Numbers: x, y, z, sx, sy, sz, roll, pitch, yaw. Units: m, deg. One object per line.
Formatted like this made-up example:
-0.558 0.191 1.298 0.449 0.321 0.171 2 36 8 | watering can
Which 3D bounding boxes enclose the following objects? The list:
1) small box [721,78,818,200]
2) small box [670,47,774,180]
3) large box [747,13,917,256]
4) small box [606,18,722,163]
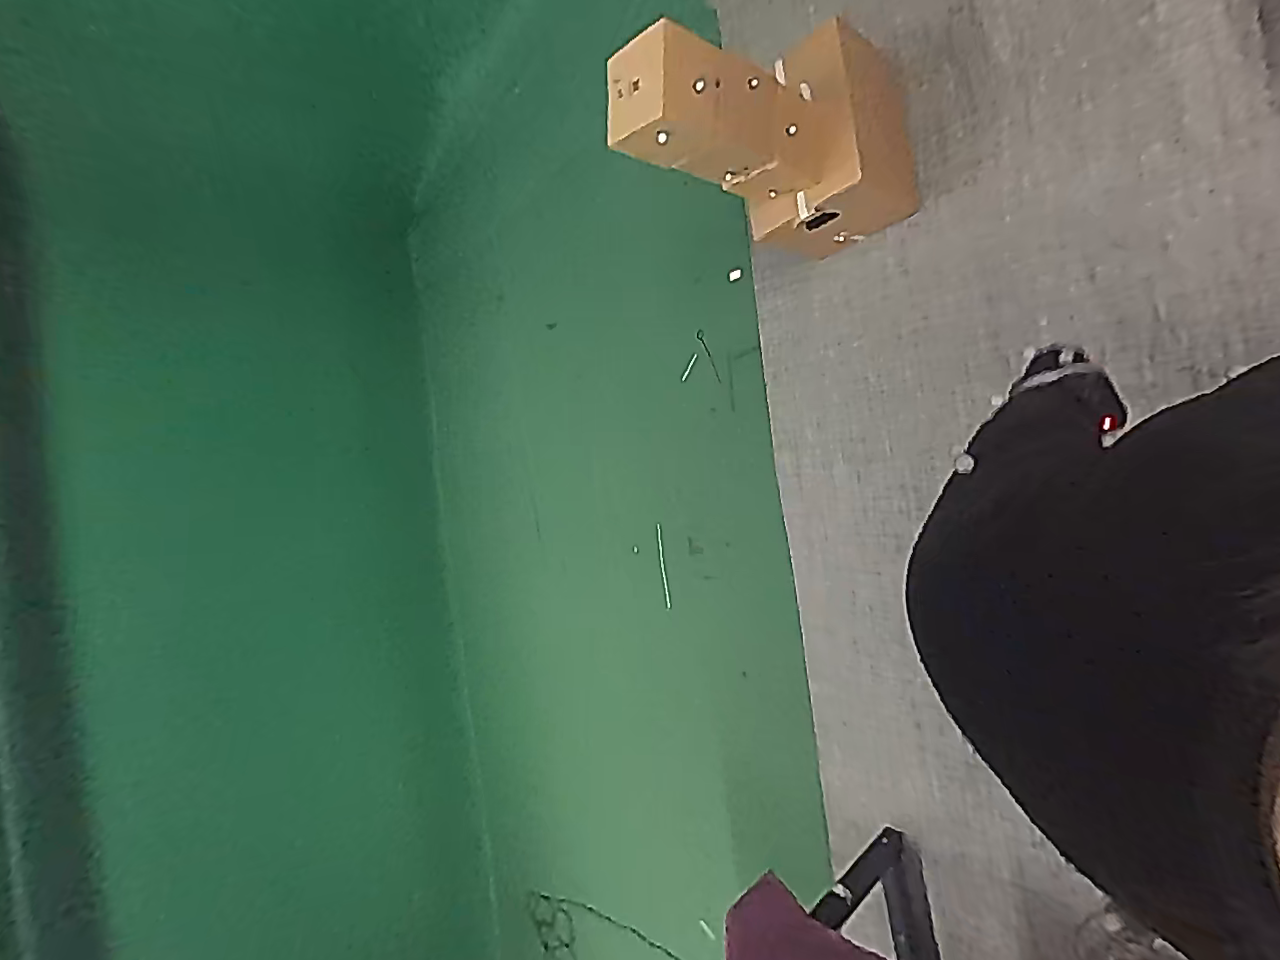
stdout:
0.309 -0.802 1.293 0.168 0.176 0.179 6 101 50 | small box
0.180 -0.794 1.194 0.168 0.176 0.179 12 106 50 | small box
0.490 -0.878 1.445 0.320 0.320 0.408 -11 87 50 | large box
0.049 -0.772 1.096 0.179 0.176 0.168 13 105 49 | small box
